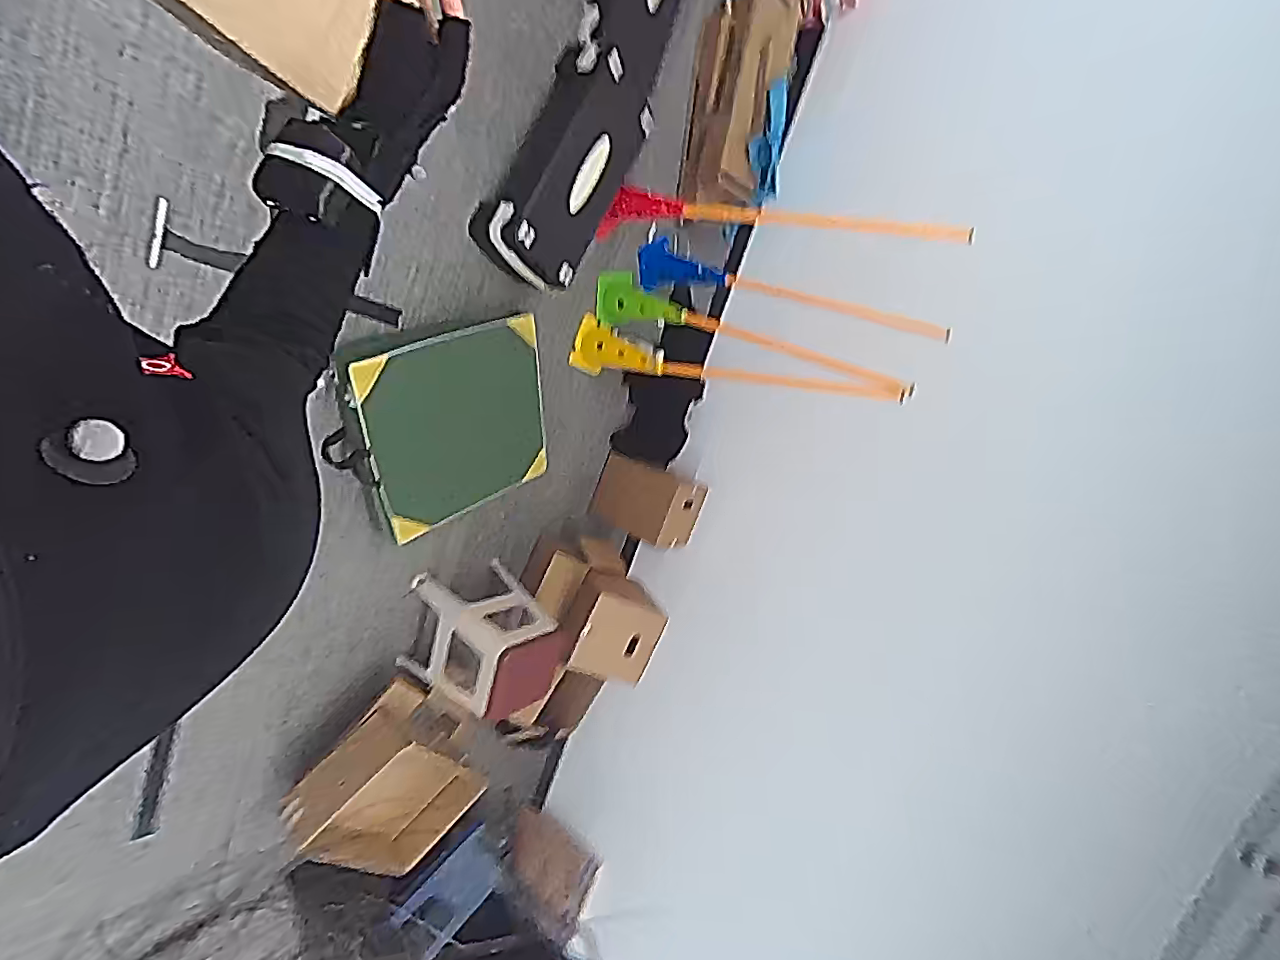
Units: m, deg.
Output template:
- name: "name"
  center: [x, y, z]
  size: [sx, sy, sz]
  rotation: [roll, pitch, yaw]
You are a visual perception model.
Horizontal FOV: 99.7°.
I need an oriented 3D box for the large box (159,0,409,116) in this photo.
- name: "large box"
  center: [-0.359, -0.542, 0.340]
  size: [0.320, 0.320, 0.408]
  rotation: [-54, 148, 9]
